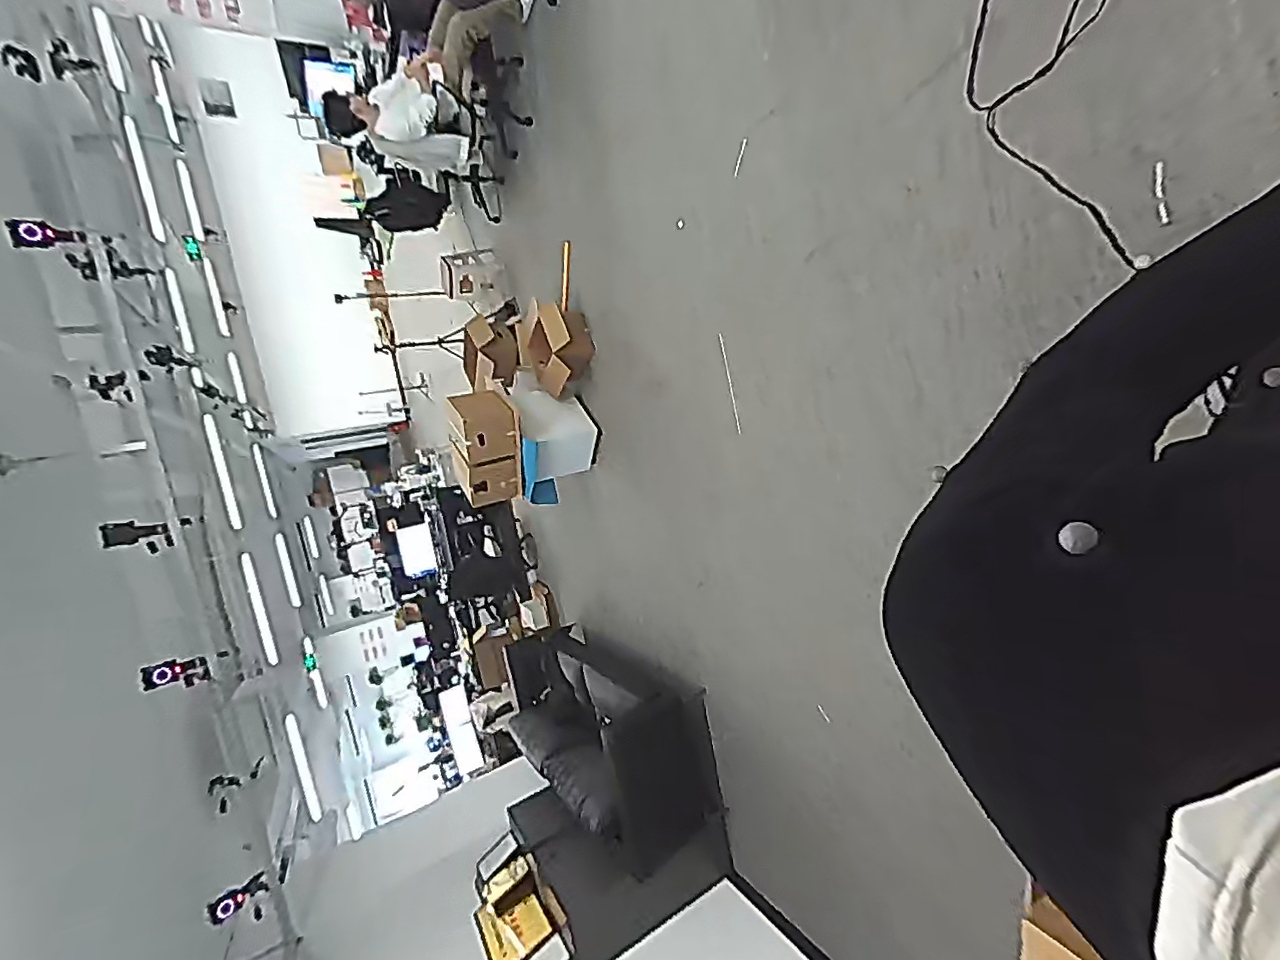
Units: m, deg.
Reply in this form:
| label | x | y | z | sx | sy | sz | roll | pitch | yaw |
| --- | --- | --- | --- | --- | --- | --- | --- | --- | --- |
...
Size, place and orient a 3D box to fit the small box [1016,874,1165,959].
| label | x | y | z | sx | sy | sz | roll | pitch | yaw |
| --- | --- | --- | --- | --- | --- | --- | --- | --- | --- |
| small box | 0.824 | 0.891 | 0.994 | 0.168 | 0.176 | 0.179 | 13 | 113 | 58 |
